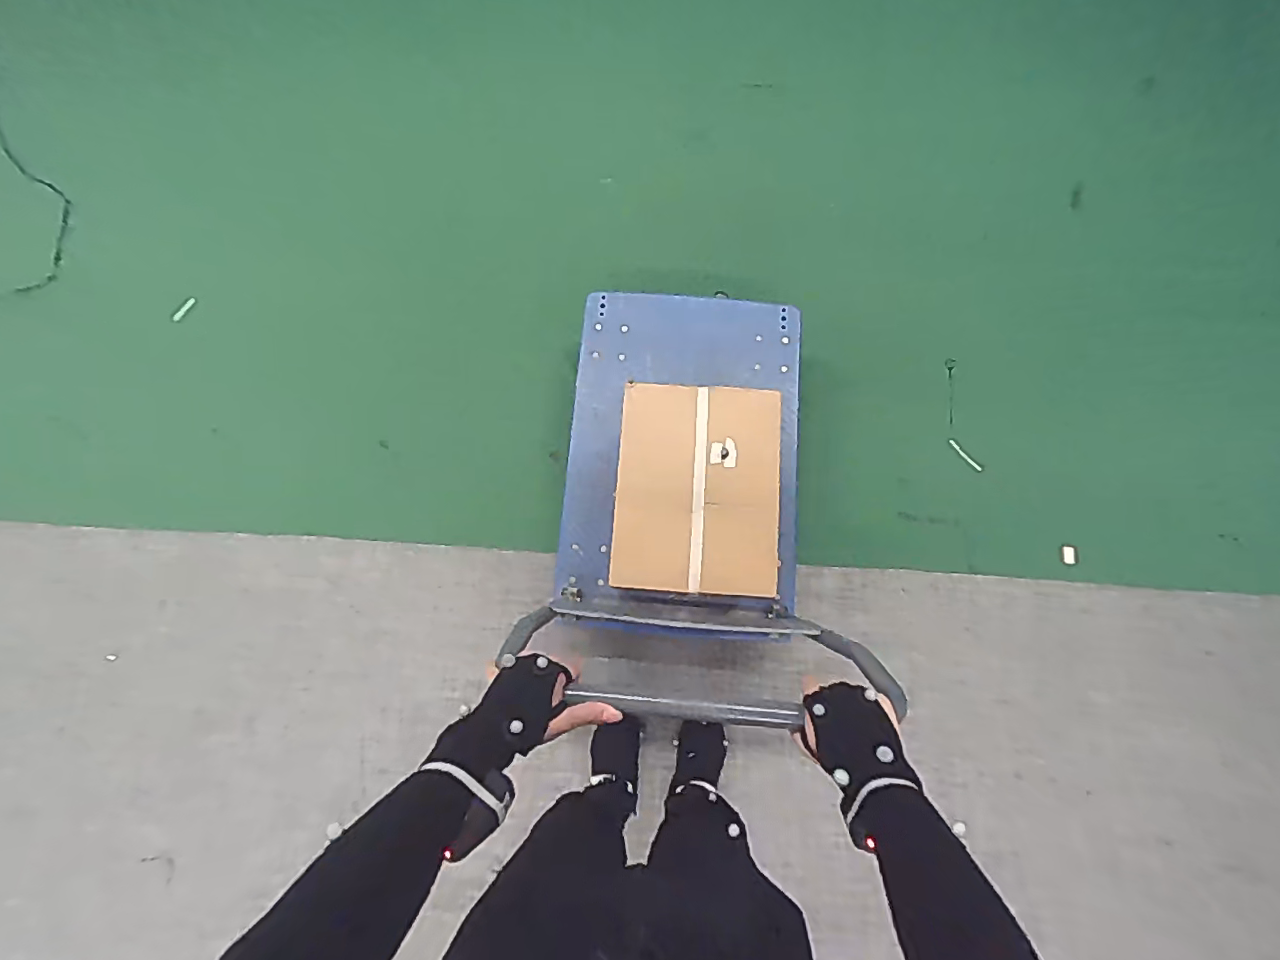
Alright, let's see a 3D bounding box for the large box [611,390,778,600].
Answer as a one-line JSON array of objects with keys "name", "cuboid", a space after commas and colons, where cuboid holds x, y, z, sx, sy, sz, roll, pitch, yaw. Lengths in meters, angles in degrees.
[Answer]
[{"name": "large box", "cuboid": [0.113, 0.053, 1.185, 0.320, 0.320, 0.408, 4, 78, 1]}]
